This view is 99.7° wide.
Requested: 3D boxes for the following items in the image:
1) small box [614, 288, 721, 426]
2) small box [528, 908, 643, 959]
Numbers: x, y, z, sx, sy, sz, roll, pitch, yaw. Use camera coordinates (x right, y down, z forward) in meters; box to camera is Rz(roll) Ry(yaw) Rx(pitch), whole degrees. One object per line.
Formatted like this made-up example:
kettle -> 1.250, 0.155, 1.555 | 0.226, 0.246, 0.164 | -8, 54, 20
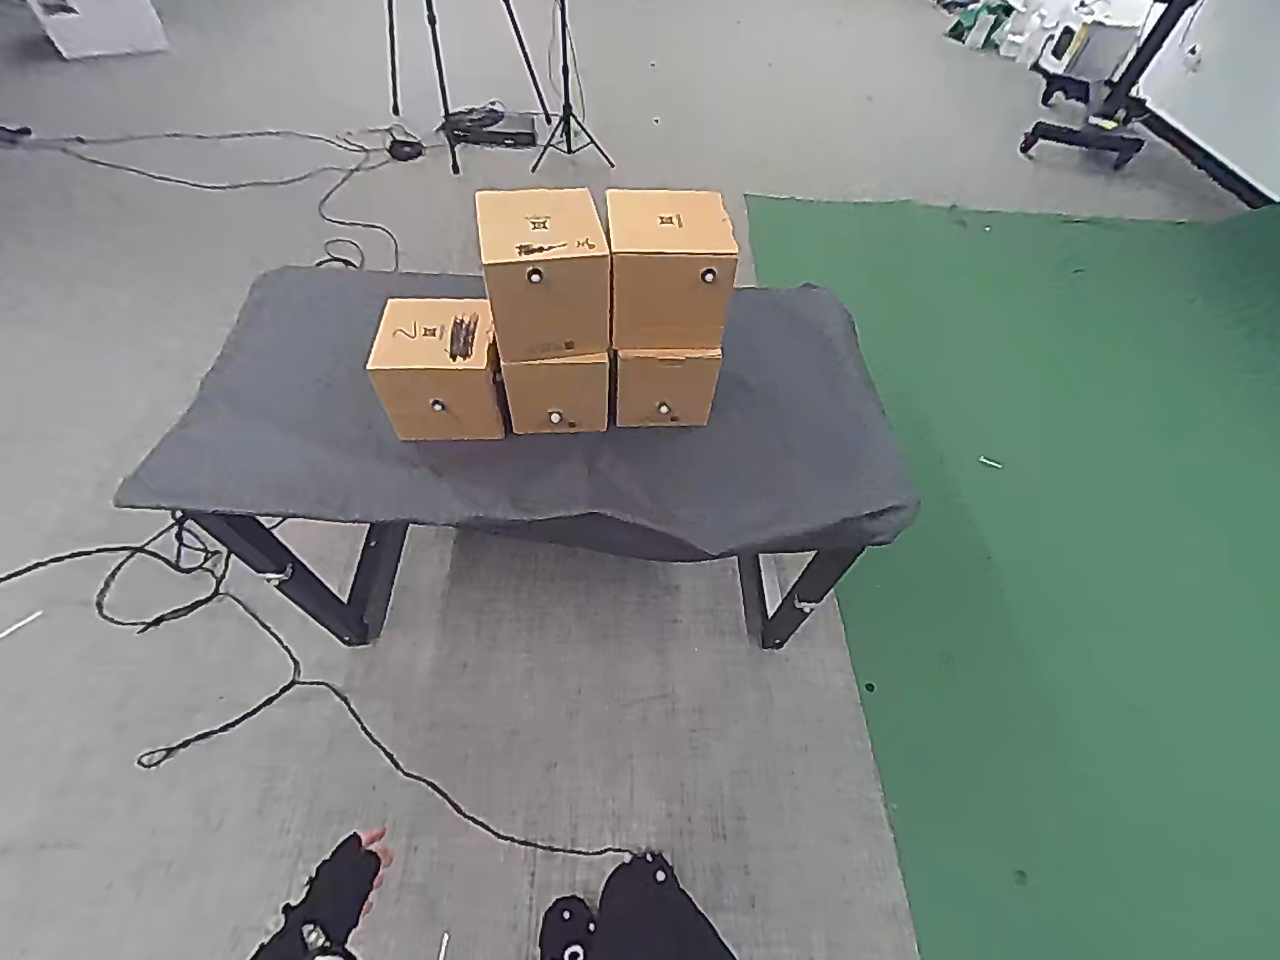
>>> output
small box -> 0.038, -0.215, 0.955 | 0.168, 0.176, 0.179 | -2, 55, -4
small box -> -0.122, 0.962, 1.032 | 0.179, 0.176, 0.168 | 13, 64, 27
